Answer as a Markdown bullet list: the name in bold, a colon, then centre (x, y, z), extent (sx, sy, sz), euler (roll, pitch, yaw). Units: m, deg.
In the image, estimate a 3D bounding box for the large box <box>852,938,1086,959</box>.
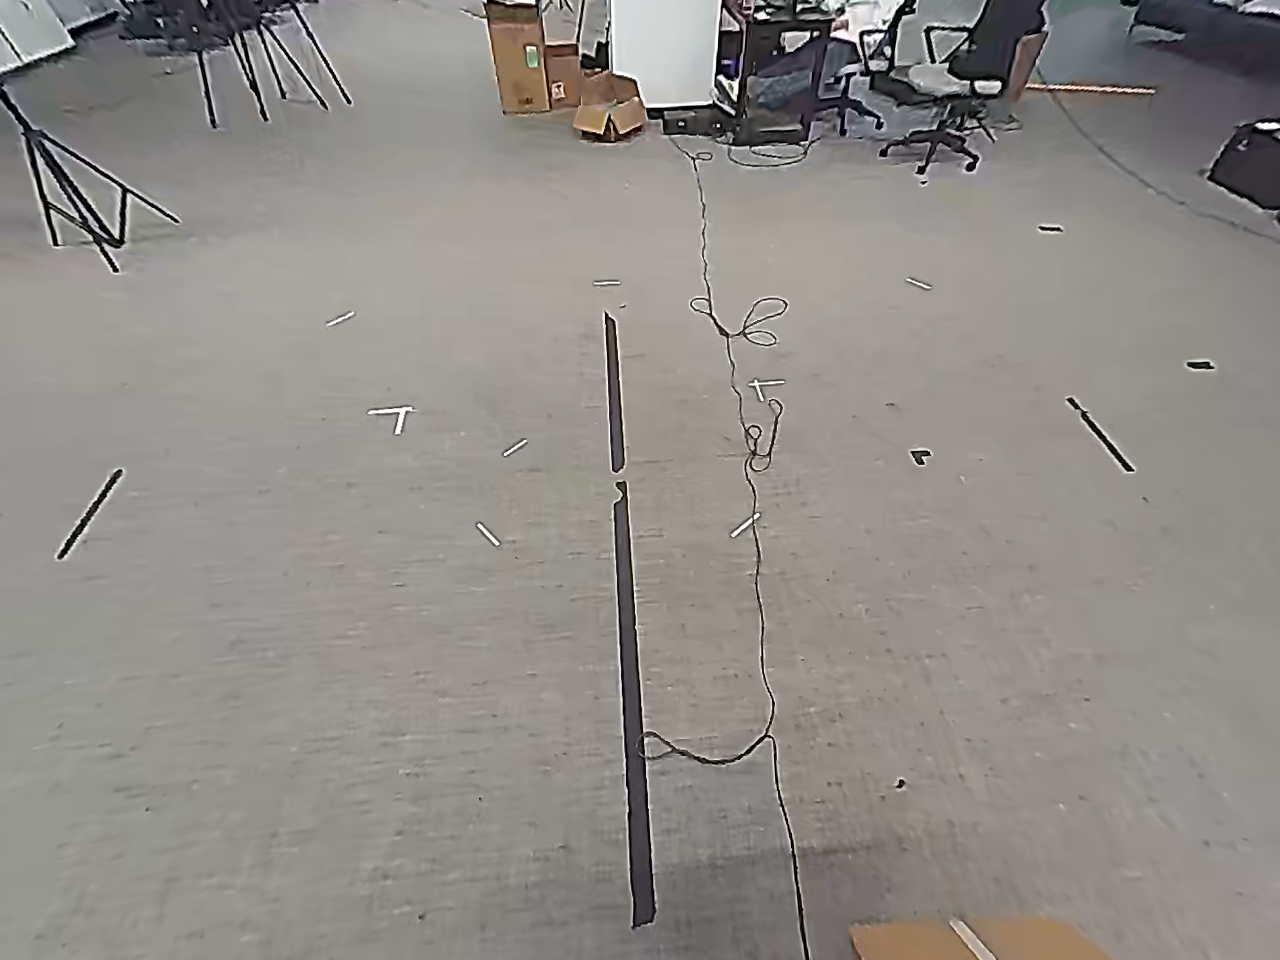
- **large box**: centre (0.458, 0.774, 0.565), extent (0.320, 0.408, 0.320), euler (-5, 76, 3)
